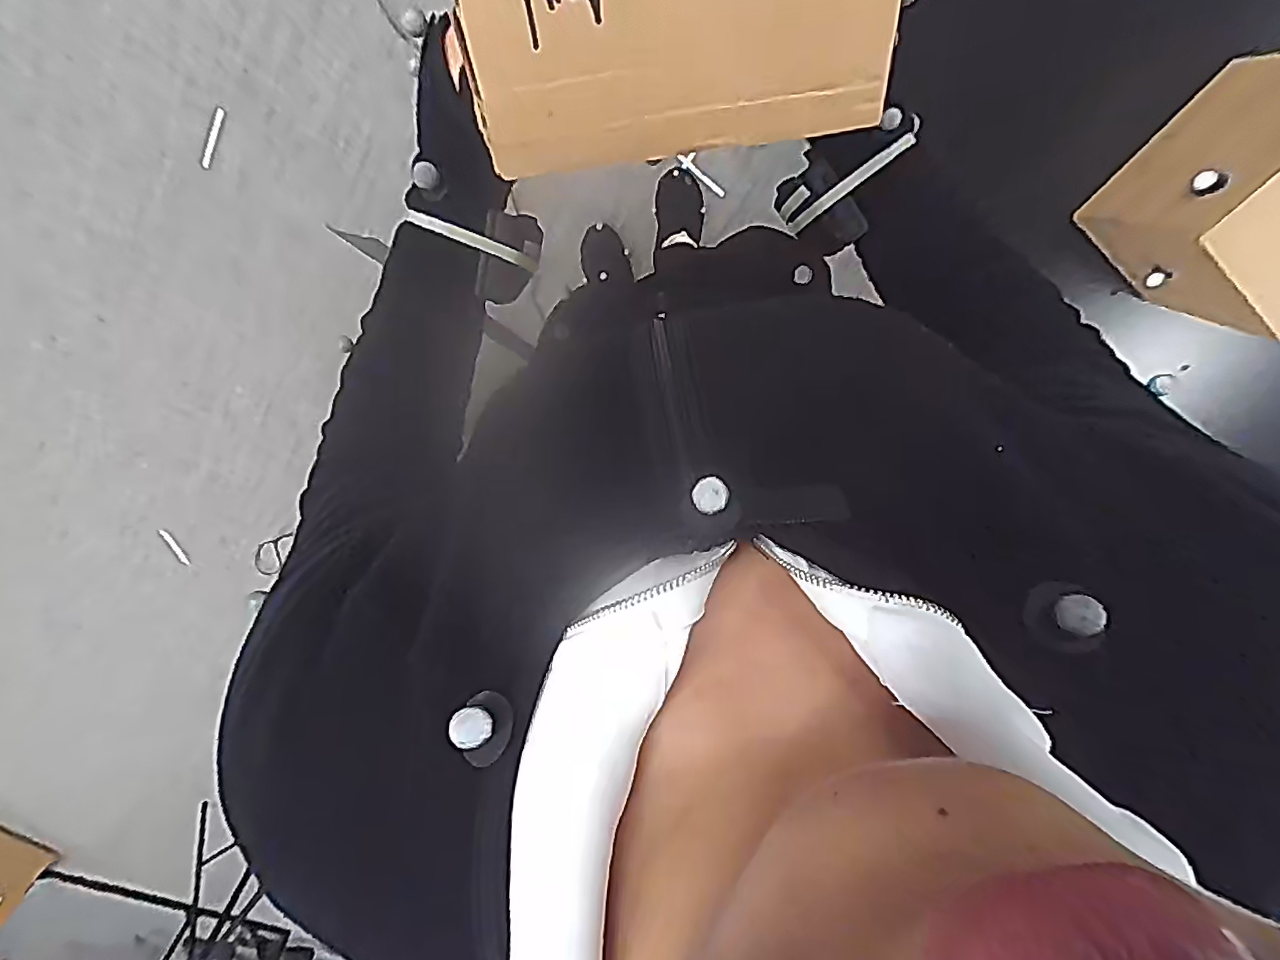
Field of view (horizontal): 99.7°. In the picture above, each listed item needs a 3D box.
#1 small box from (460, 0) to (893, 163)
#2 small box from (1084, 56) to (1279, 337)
[{"bbox_3d":[0.009,-0.270,0.251,0.179,0.176,0.168,-7,136,2],"label":"small box"},{"bbox_3d":[0.599,-0.279,0.536,0.168,0.176,0.179,31,117,-18],"label":"small box"}]
